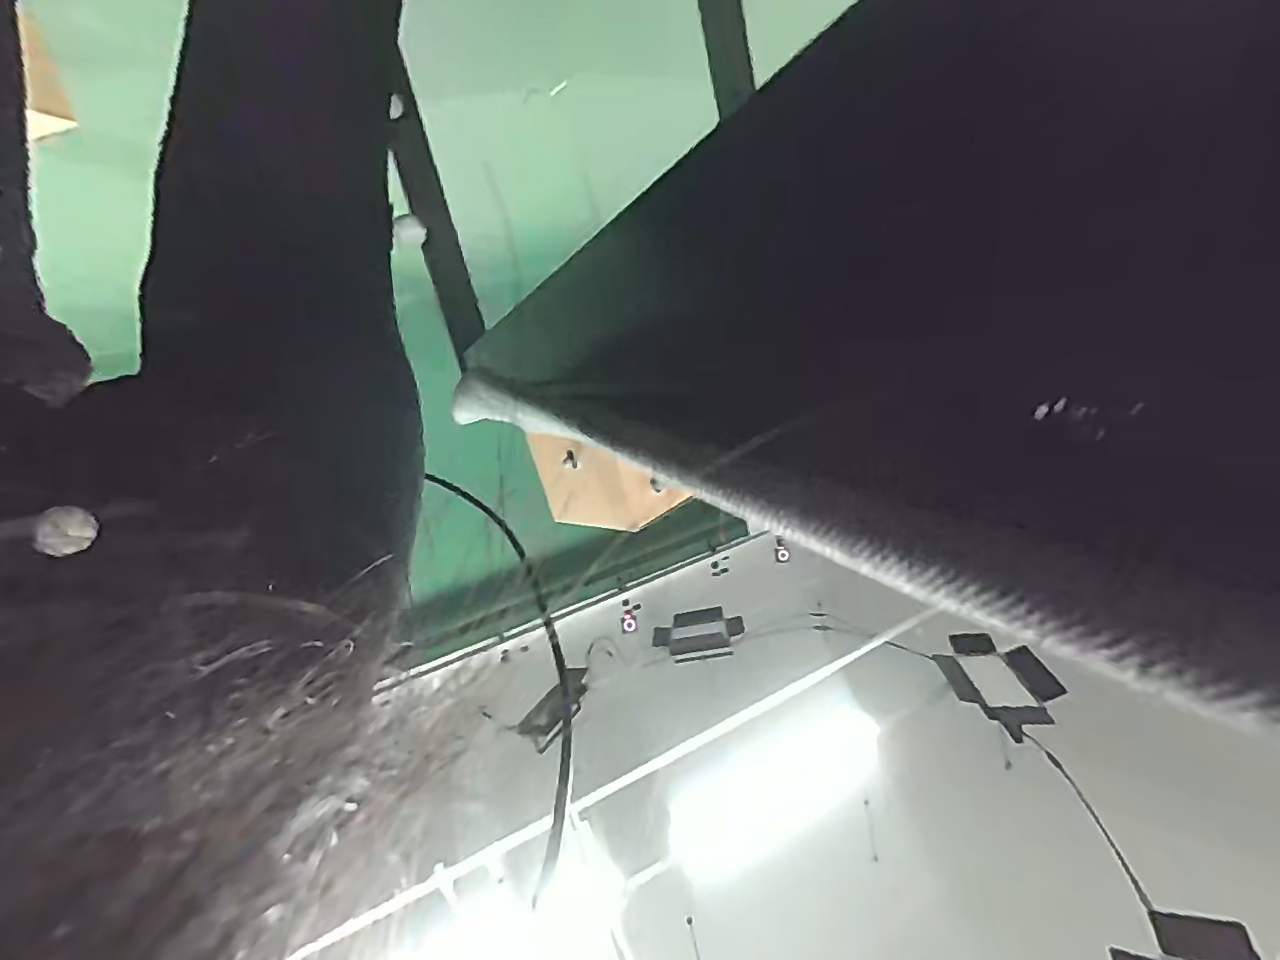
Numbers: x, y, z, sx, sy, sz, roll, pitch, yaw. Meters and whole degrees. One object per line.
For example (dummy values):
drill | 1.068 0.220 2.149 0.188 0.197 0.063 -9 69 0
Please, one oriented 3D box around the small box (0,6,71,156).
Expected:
small box | -1.015 -0.601 0.778 0.168 0.176 0.179 -11 -165 12

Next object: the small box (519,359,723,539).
small box | -0.025 -0.043 0.685 0.179 0.176 0.168 -29 -160 -38
